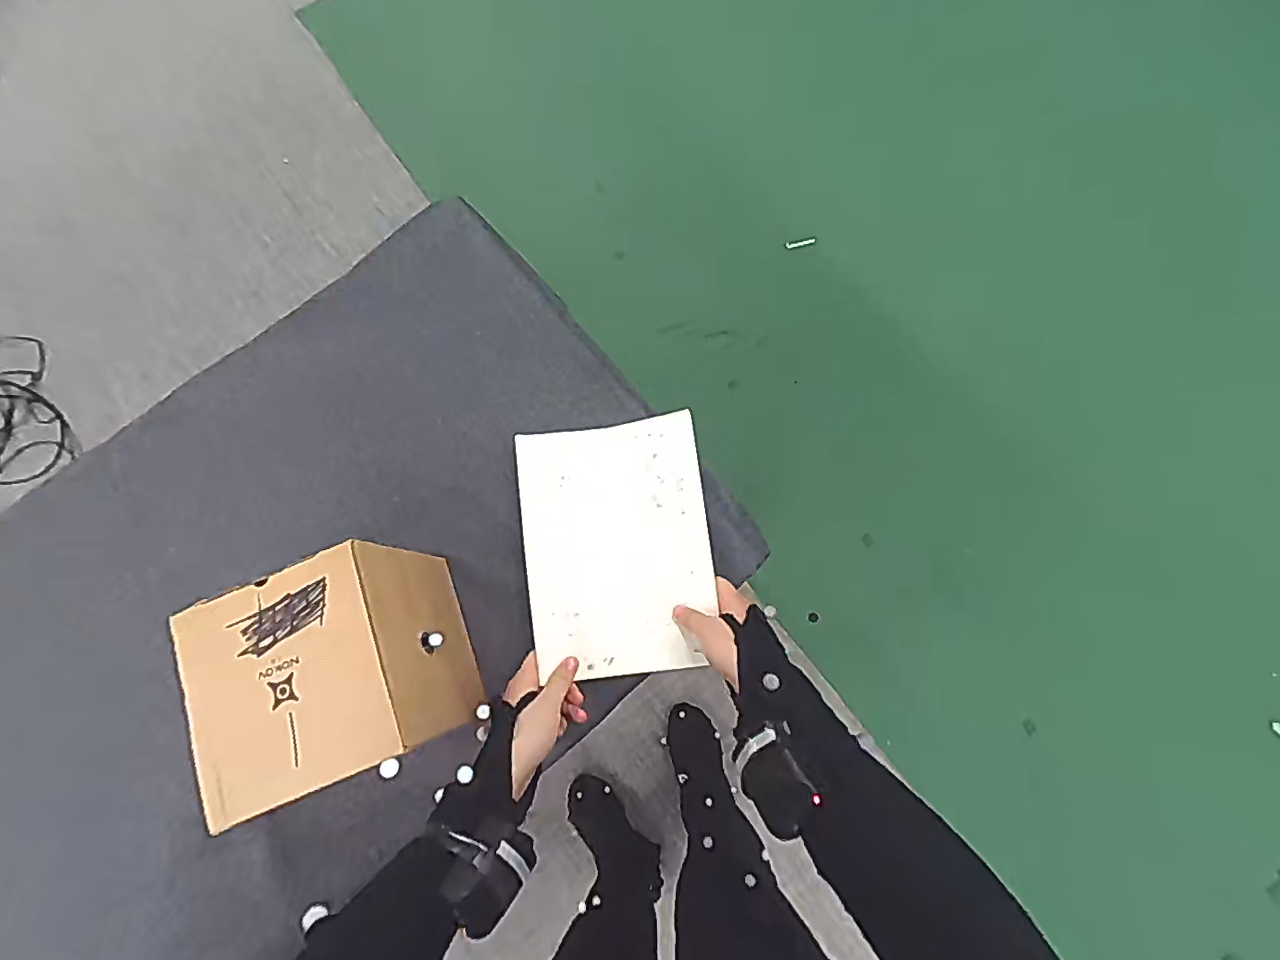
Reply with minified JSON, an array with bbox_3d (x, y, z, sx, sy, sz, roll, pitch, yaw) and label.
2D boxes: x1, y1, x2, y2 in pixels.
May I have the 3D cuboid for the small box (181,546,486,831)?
[{"bbox_3d":[-0.271,0.181,0.510,0.168,0.176,0.179,-24,76,1],"label":"small box"}]
